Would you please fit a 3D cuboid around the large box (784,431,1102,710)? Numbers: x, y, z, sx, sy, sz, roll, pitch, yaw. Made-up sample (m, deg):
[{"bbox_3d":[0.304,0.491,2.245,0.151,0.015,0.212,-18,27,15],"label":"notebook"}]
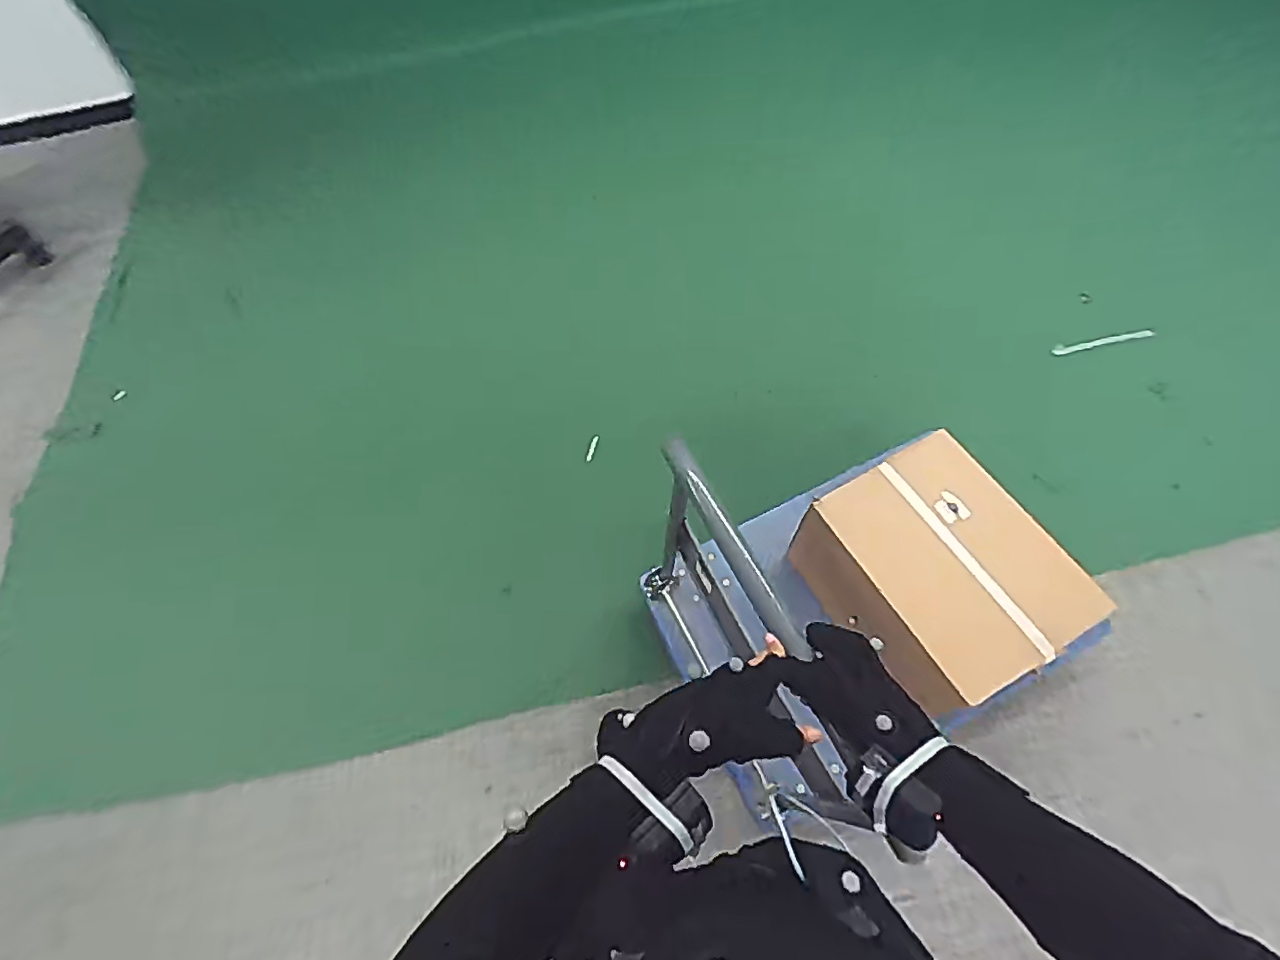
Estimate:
[{"bbox_3d":[0.551,0.188,1.084,0.320,0.320,0.408,-28,64,-10],"label":"large box"}]
